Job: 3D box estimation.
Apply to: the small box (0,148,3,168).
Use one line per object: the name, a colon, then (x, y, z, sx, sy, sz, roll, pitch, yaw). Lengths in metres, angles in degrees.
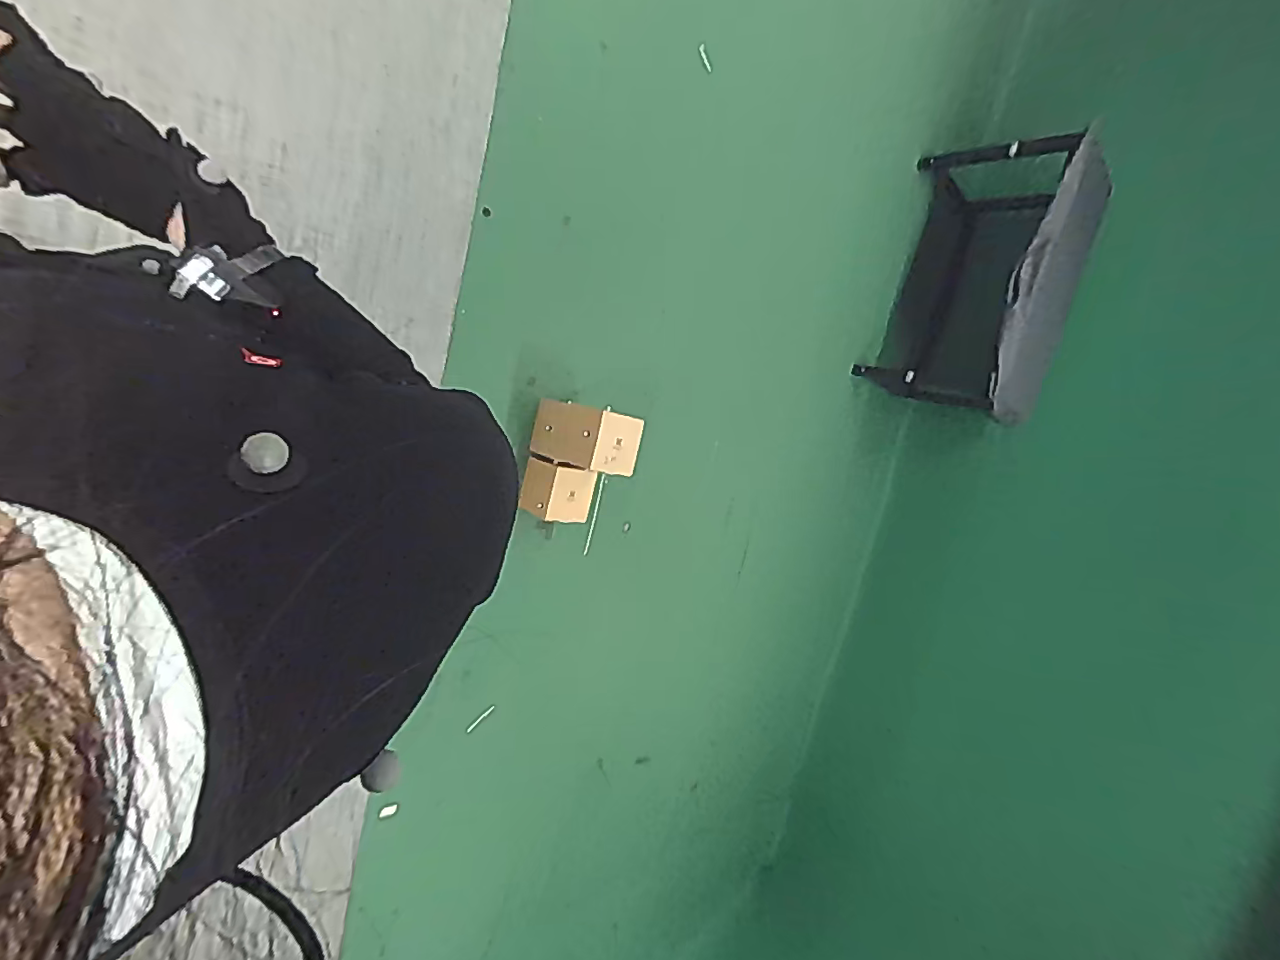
small box: (-0.441, -0.243, 0.239, 0.168, 0.176, 0.179, -25, 120, -41)

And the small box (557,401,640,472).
small box: (-0.129, -0.133, 1.628, 0.168, 0.176, 0.179, 8, 98, -44)
